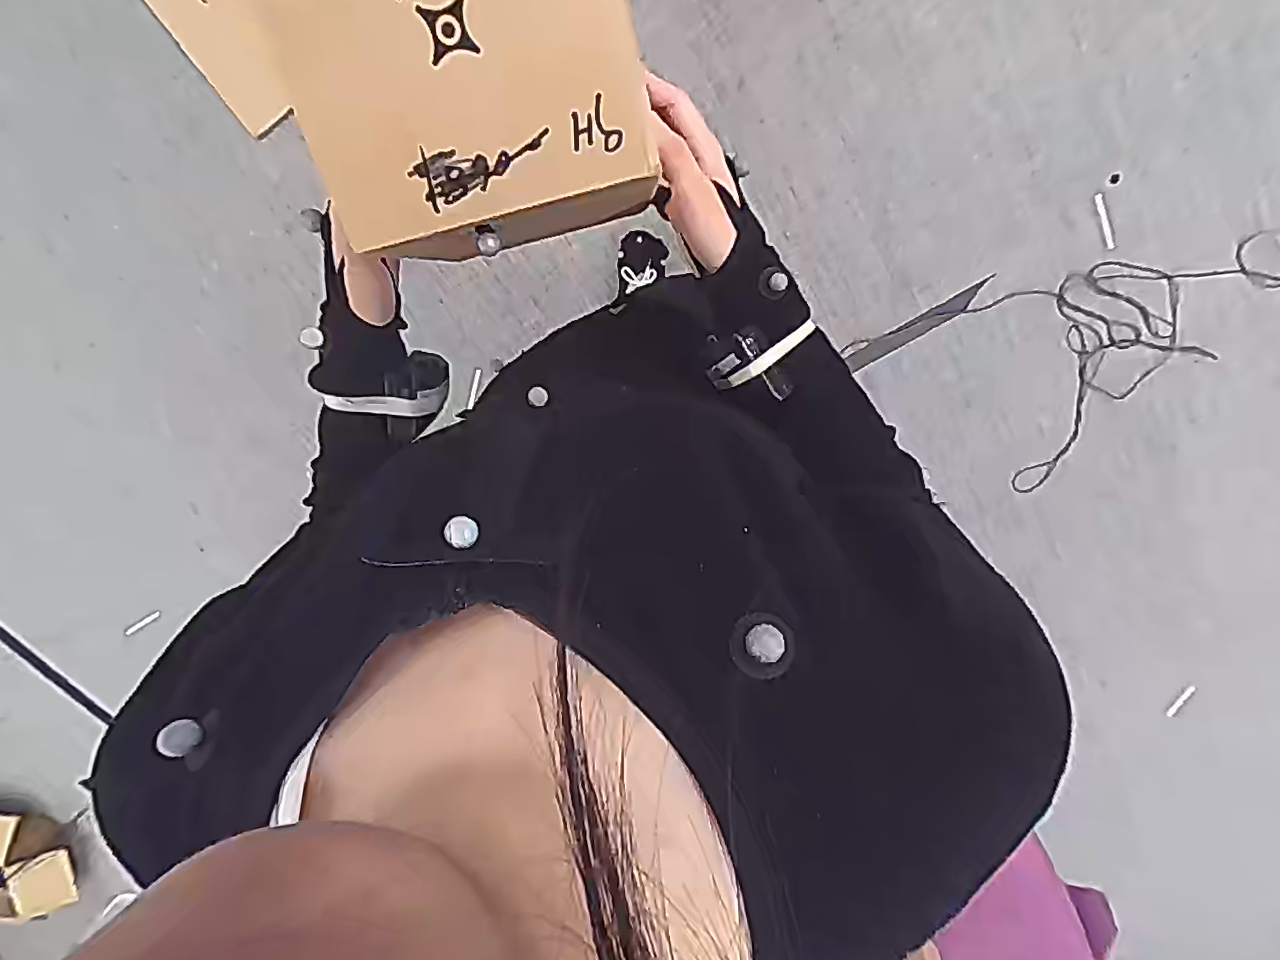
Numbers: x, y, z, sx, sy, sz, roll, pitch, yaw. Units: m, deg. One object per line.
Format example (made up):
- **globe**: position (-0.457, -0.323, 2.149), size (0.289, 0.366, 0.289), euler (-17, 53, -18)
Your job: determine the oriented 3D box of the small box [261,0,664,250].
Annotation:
- **small box**: position (-0.088, -0.247, 0.313), size (0.168, 0.176, 0.179), euler (-13, 110, 3)
